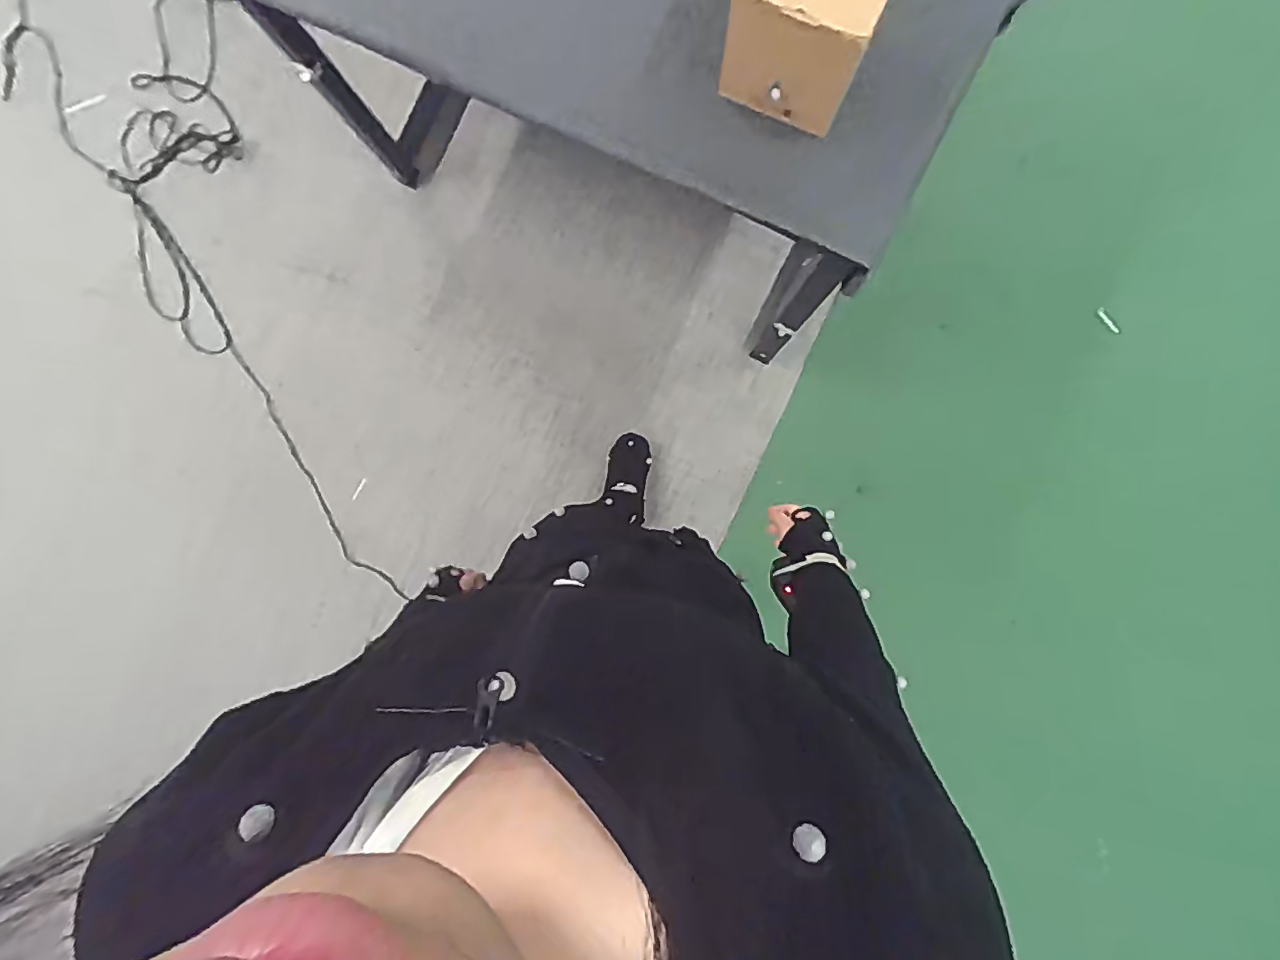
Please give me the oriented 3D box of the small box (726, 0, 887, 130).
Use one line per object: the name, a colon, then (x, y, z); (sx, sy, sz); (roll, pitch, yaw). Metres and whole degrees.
small box: (0.220, -0.602, 0.687); (0.168, 0.176, 0.179); (24, 91, 4)
